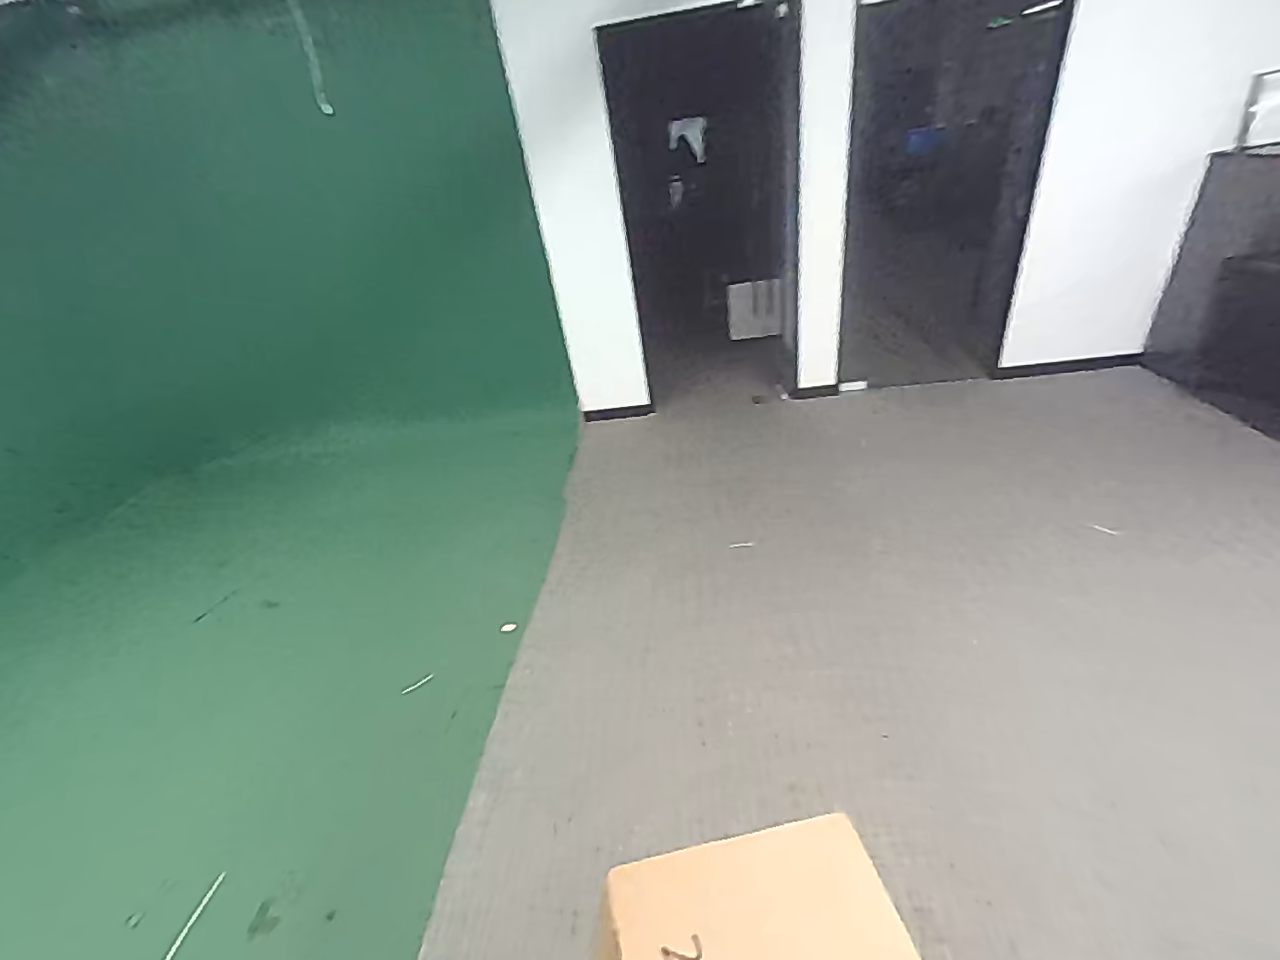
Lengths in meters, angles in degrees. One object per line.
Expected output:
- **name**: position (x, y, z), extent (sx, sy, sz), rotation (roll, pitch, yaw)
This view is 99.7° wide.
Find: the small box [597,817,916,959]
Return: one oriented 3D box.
- **small box**: position (0.071, 0.352, 0.344), extent (0.179, 0.176, 0.168), rotation (-3, 37, -15)
